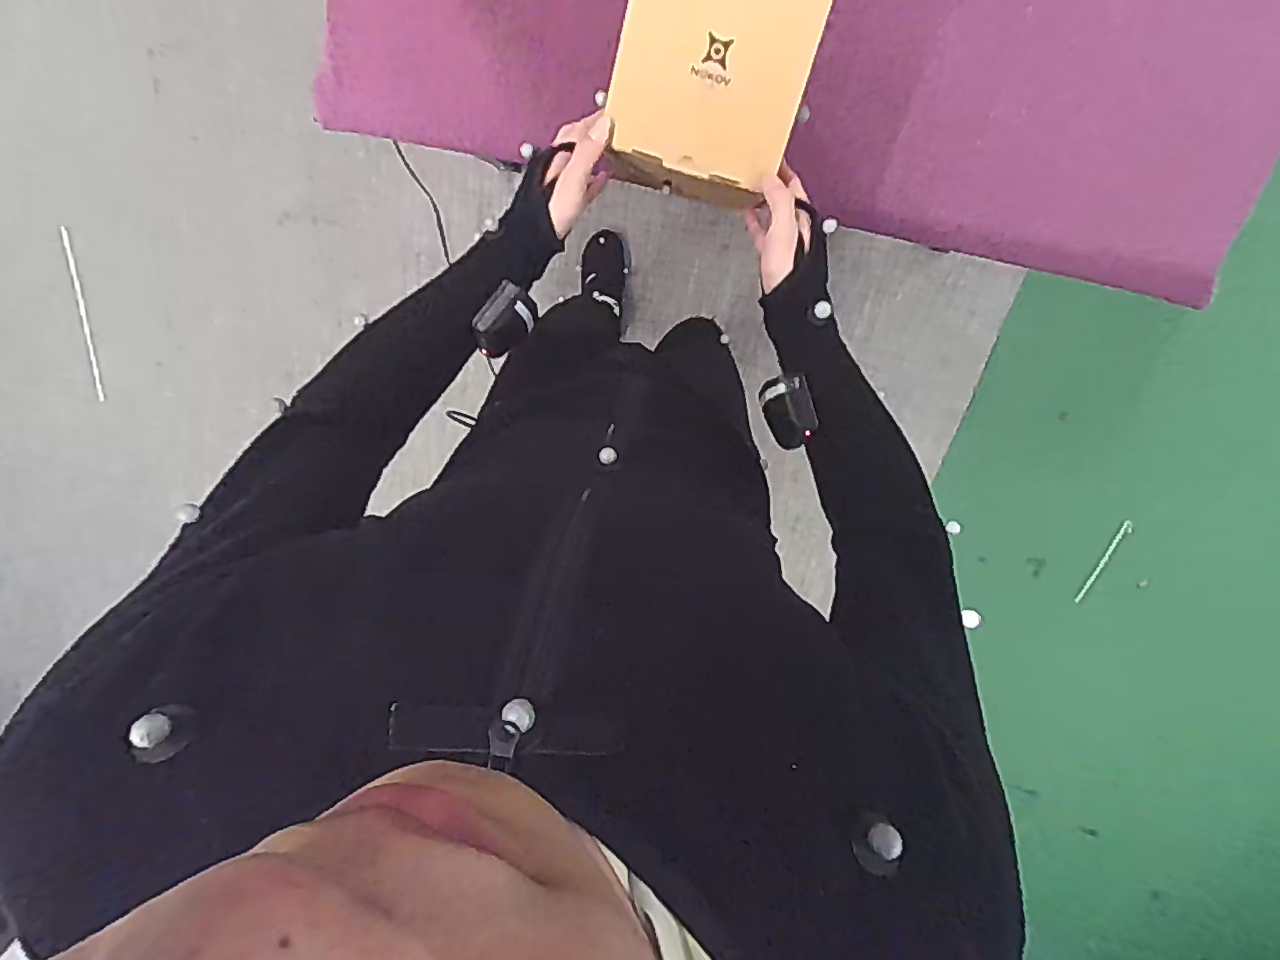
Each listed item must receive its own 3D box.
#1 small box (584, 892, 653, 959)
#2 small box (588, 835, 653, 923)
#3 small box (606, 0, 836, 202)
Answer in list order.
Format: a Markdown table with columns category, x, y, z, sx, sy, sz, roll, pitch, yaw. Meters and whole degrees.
| category | x | y | z | sx | sy | sz | roll | pitch | yaw |
| --- | --- | --- | --- | --- | --- | --- | --- | --- | --- |
| small box | -0.059 | 1.317 | 1.529 | 0.168 | 0.176 | 0.179 | 14 | 112 | -7 |
| small box | -0.059 | 1.252 | 1.680 | 0.168 | 0.176 | 0.179 | 12 | 113 | -5 |
| small box | 0.069 | -0.397 | 0.535 | 0.168 | 0.176 | 0.179 | 14 | 112 | -5 |
